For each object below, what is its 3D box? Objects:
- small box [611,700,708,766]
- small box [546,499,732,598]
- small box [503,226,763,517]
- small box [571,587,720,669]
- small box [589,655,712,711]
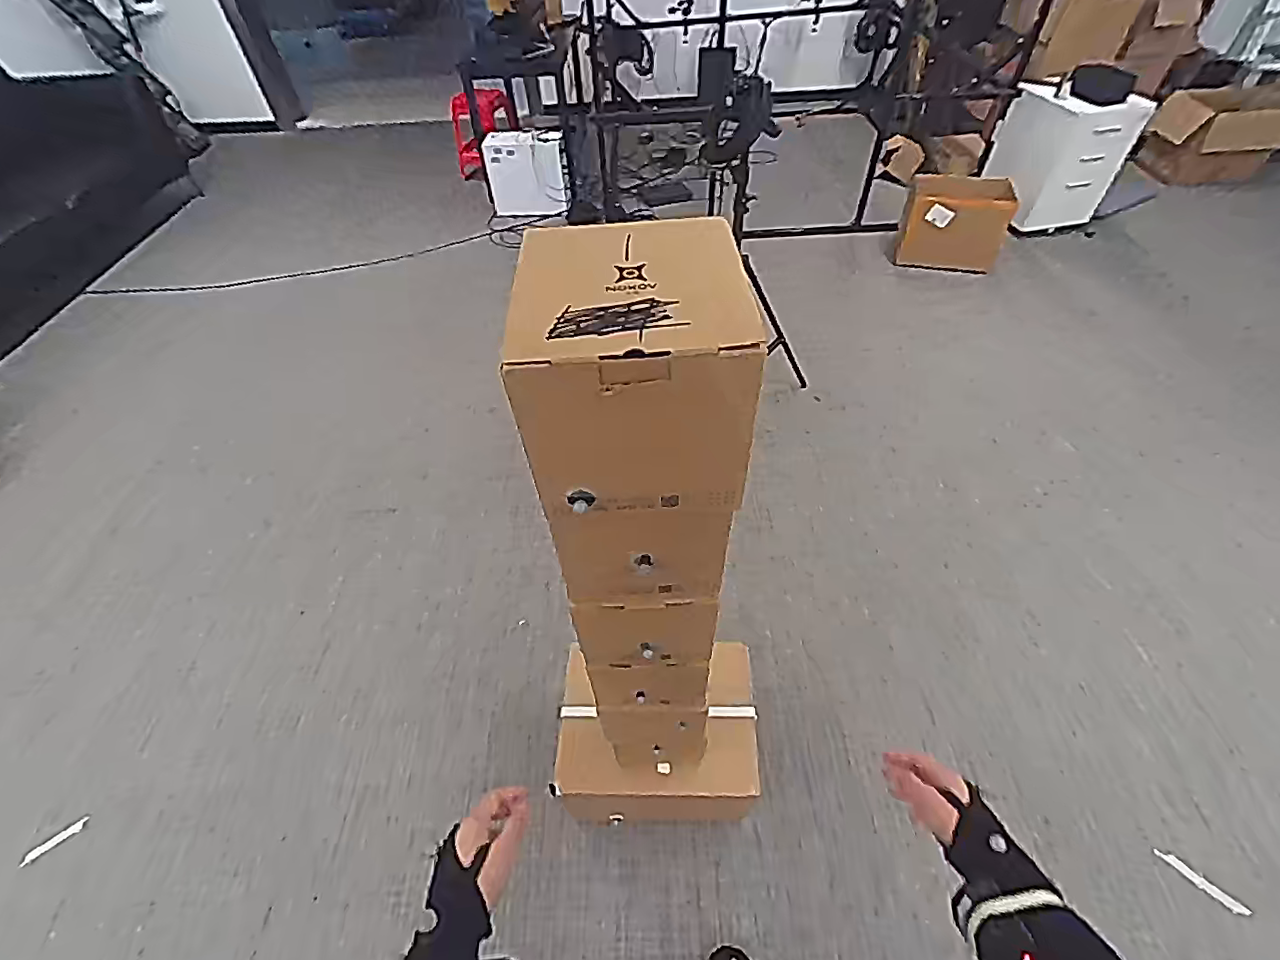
[{"bbox_3d":[0.037,0.455,1.063,0.179,0.176,0.168,-2,50,0],"label":"small box"},{"bbox_3d":[0.001,0.017,0.578,0.168,0.176,0.179,-3,51,0],"label":"small box"},{"bbox_3d":[-0.003,-0.081,0.445,0.168,0.176,0.179,-4,50,0],"label":"small box"},{"bbox_3d":[0.007,0.126,0.699,0.168,0.176,0.179,-3,50,1],"label":"small box"},{"bbox_3d":[0.015,0.235,0.823,0.168,0.176,0.179,-2,50,1],"label":"small box"}]
